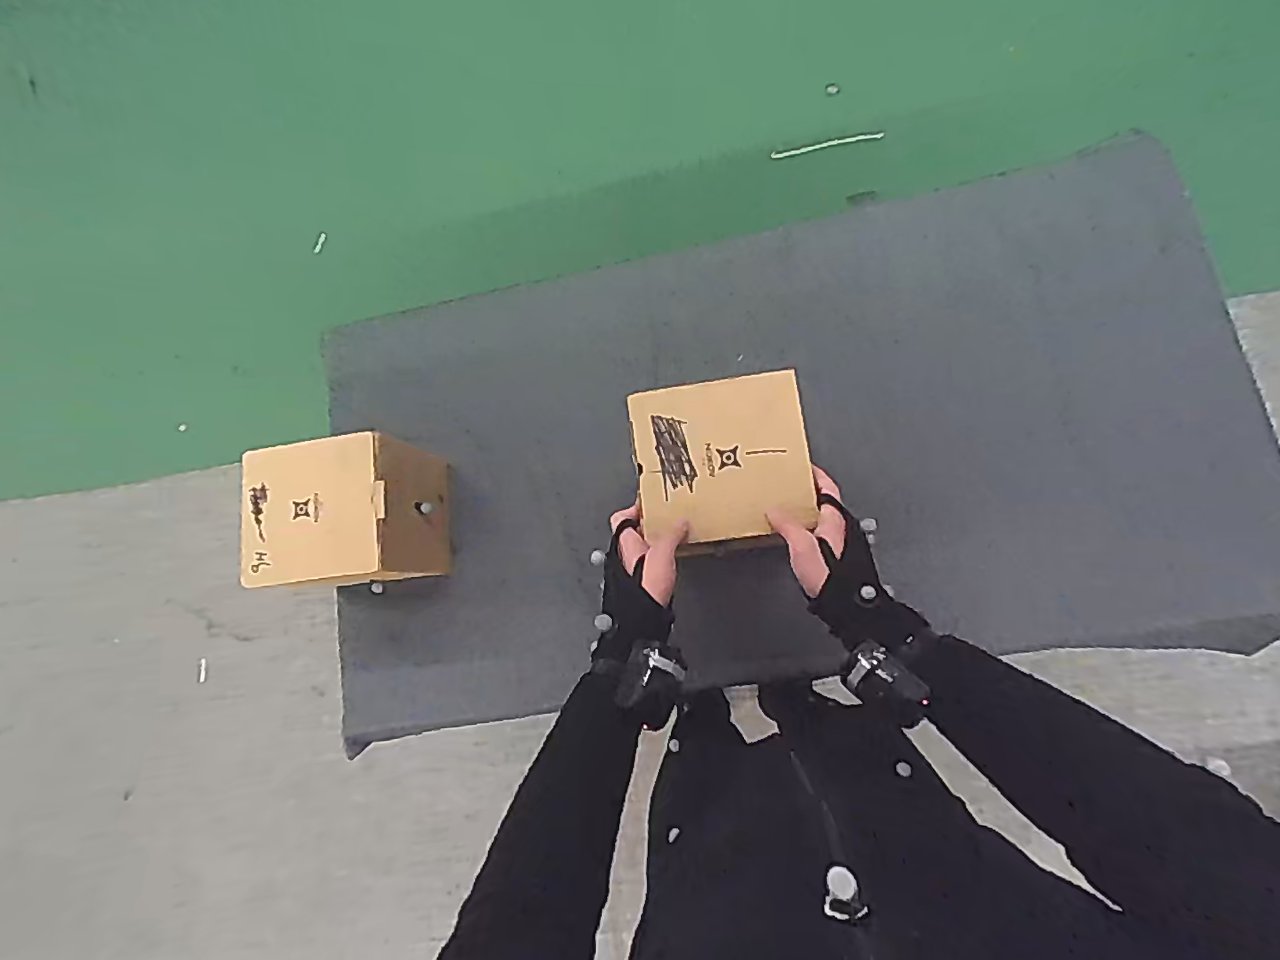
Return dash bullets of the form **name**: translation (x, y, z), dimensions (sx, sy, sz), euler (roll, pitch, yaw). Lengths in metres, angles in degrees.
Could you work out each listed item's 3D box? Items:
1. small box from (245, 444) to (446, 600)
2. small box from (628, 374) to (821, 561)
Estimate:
- **small box**: translation (-0.366, 0.060, 0.703), dimensions (0.179, 0.176, 0.168), euler (-8, 79, 7)
- **small box**: translation (0.092, -0.001, 0.615), dimensions (0.179, 0.176, 0.168), euler (-8, 77, 7)
